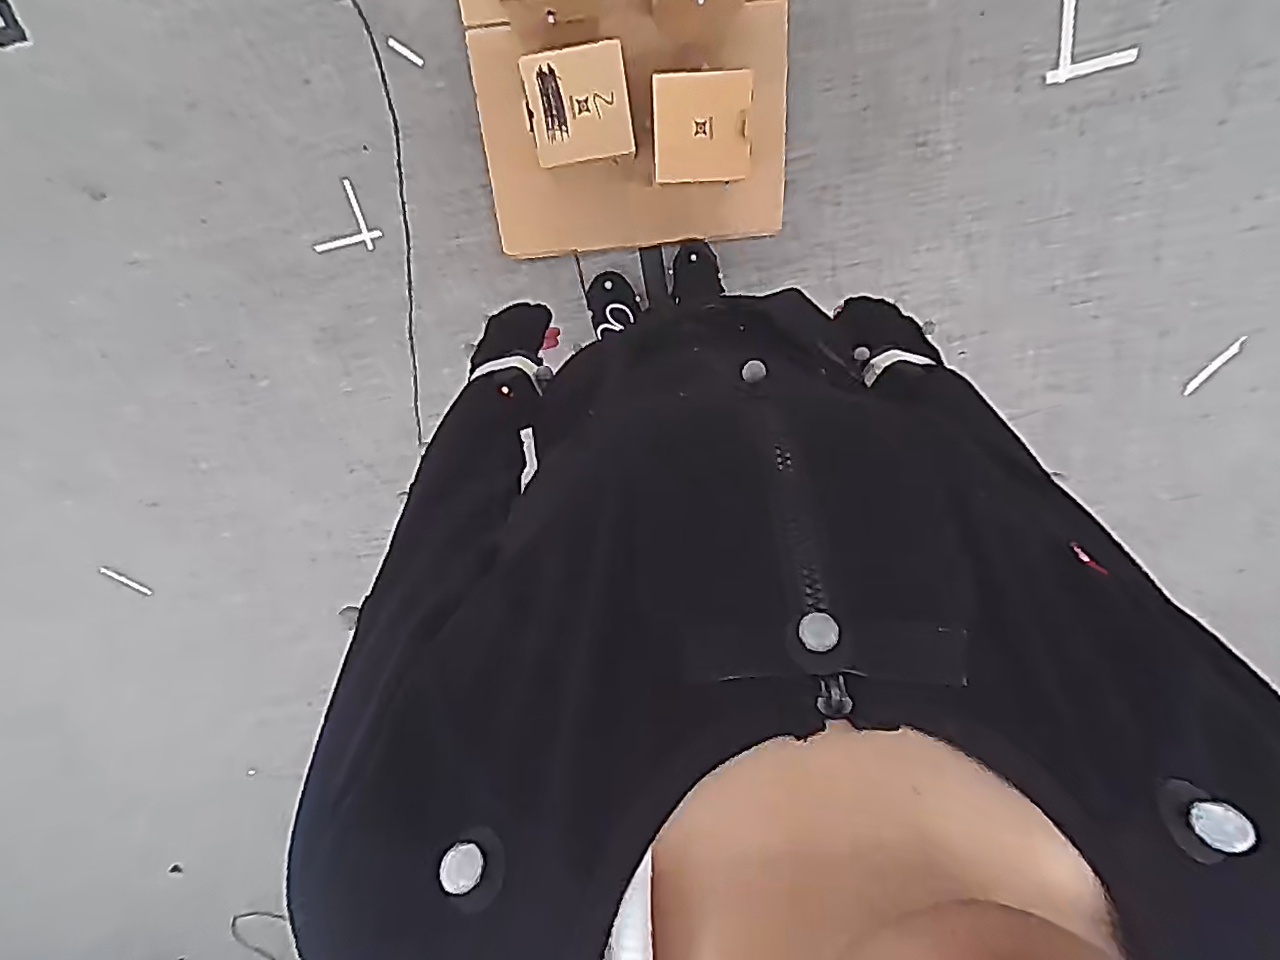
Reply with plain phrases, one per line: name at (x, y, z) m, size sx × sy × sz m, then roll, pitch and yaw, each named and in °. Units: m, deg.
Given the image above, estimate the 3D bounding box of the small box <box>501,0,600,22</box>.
small box at (-0.159, -0.902, 0.905) m, size 0.168 × 0.176 × 0.179 m, roll -6°, pitch 115°, yaw 0°

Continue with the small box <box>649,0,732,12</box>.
small box at (0.099, -0.921, 0.904) m, size 0.179 × 0.176 × 0.168 m, roll -7°, pitch 116°, yaw 2°
